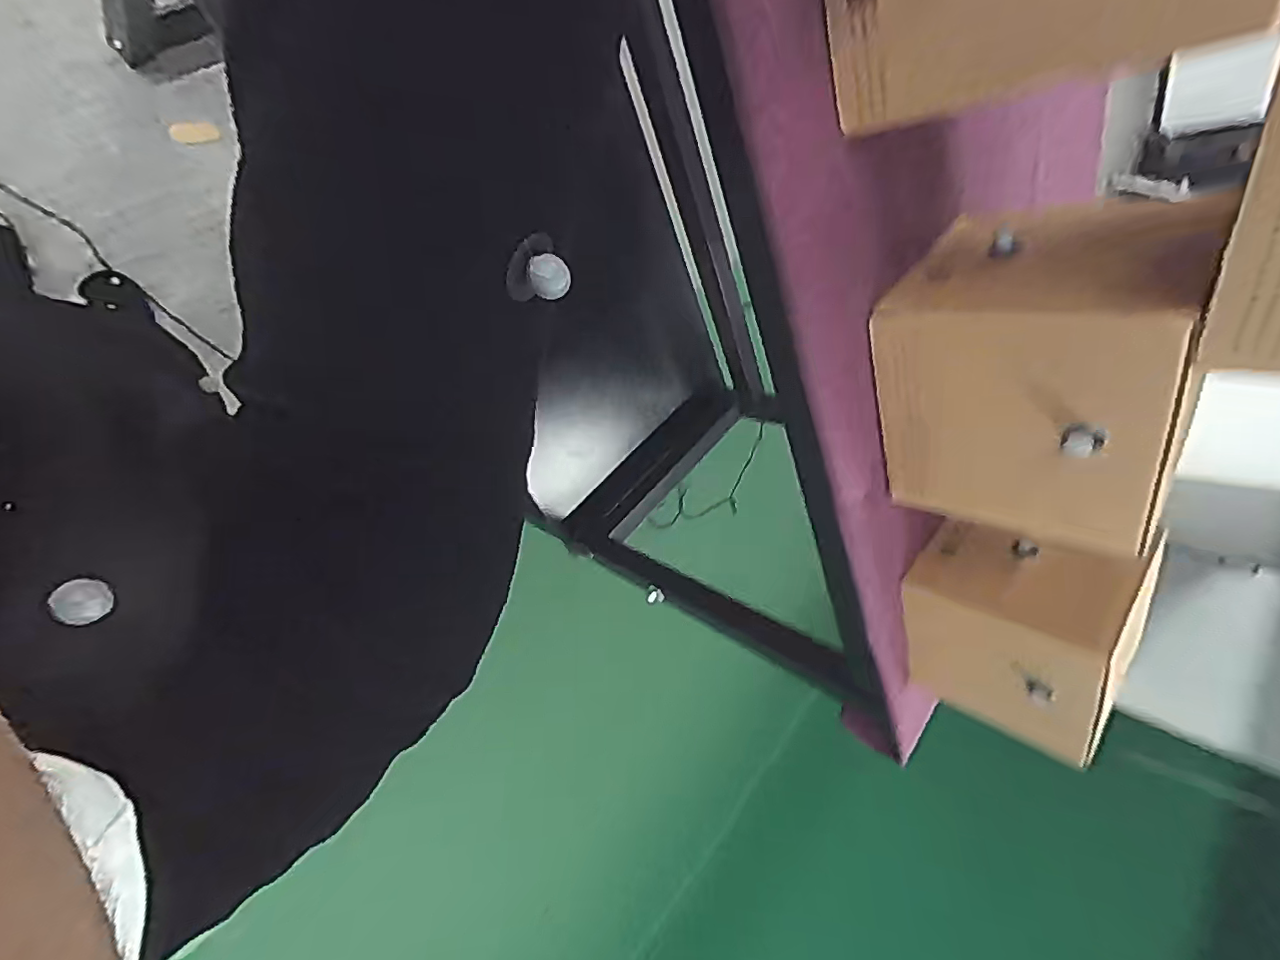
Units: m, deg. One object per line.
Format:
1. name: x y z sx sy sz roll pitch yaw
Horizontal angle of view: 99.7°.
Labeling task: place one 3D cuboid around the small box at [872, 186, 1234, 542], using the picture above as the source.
1. small box: 0.296 -0.088 0.402 0.168 0.176 0.179 -44 128 -26

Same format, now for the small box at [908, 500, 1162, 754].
1. small box: 0.396 0.130 0.561 0.168 0.176 0.179 -40 126 -26

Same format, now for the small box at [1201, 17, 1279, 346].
1. small box: 0.359 -0.160 0.207 0.168 0.176 0.179 -46 131 -24
